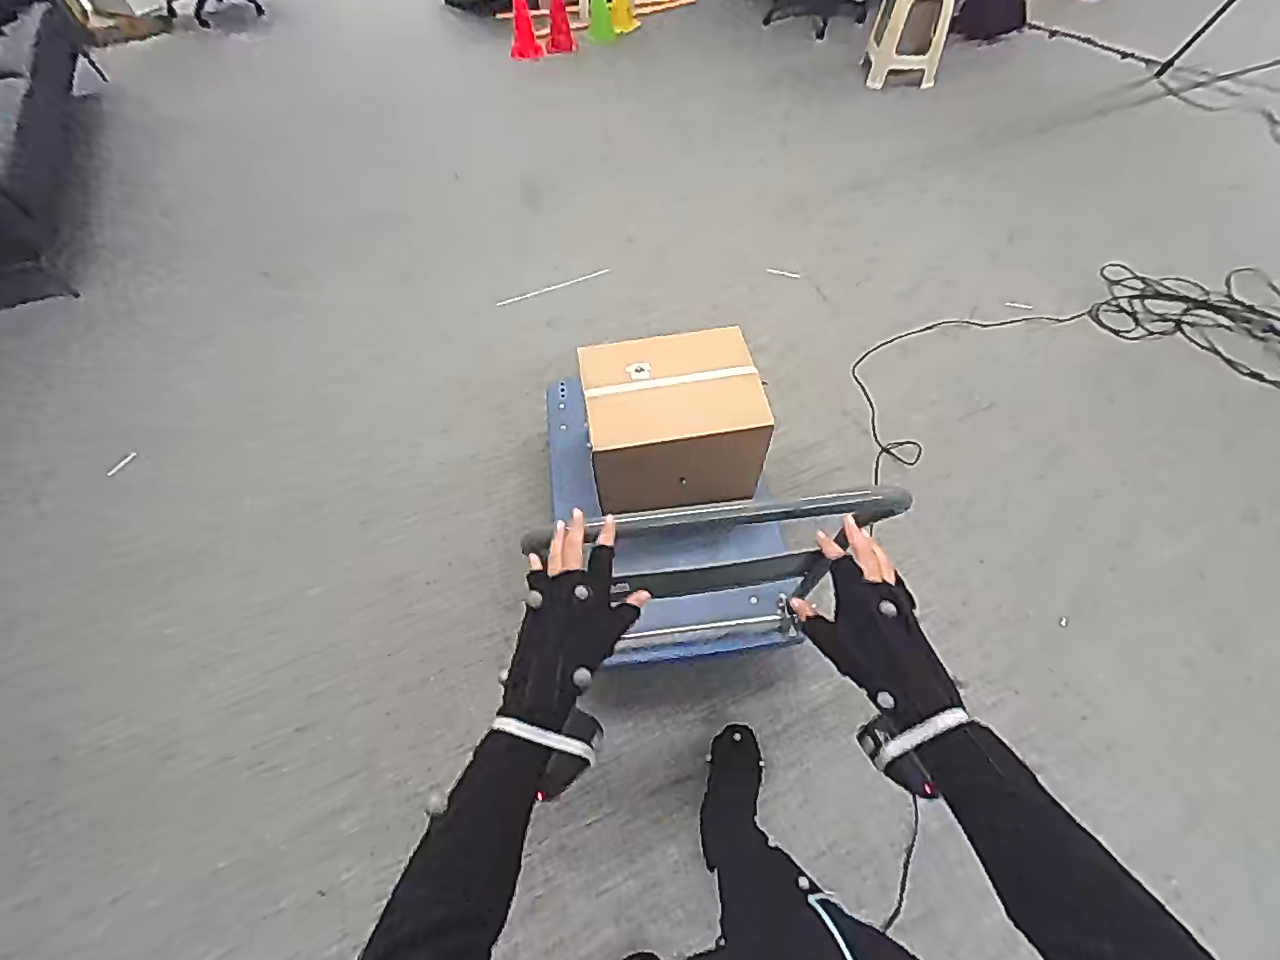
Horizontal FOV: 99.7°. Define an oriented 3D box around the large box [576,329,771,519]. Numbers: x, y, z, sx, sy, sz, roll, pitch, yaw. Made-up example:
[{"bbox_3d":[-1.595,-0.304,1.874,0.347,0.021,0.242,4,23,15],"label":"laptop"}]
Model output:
[{"bbox_3d":[0.075,-0.133,1.374,0.408,0.320,0.320,-10,58,-3],"label":"large box"}]
